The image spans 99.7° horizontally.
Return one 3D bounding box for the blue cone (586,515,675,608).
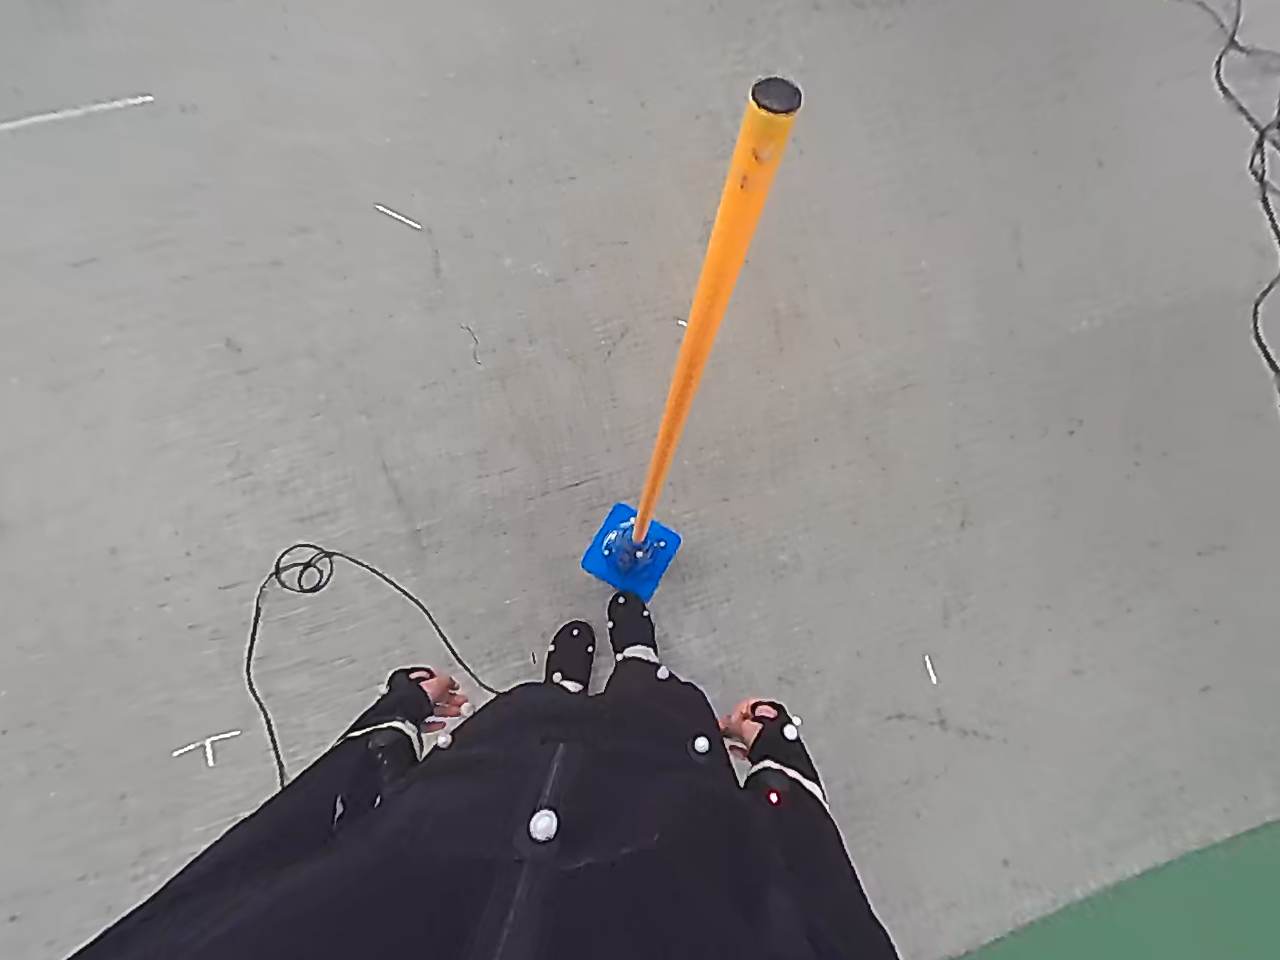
[{"bbox_3d":[-0.015,0.164,1.187,0.192,0.380,0.193,28,77,3],"label":"blue cone"}]
